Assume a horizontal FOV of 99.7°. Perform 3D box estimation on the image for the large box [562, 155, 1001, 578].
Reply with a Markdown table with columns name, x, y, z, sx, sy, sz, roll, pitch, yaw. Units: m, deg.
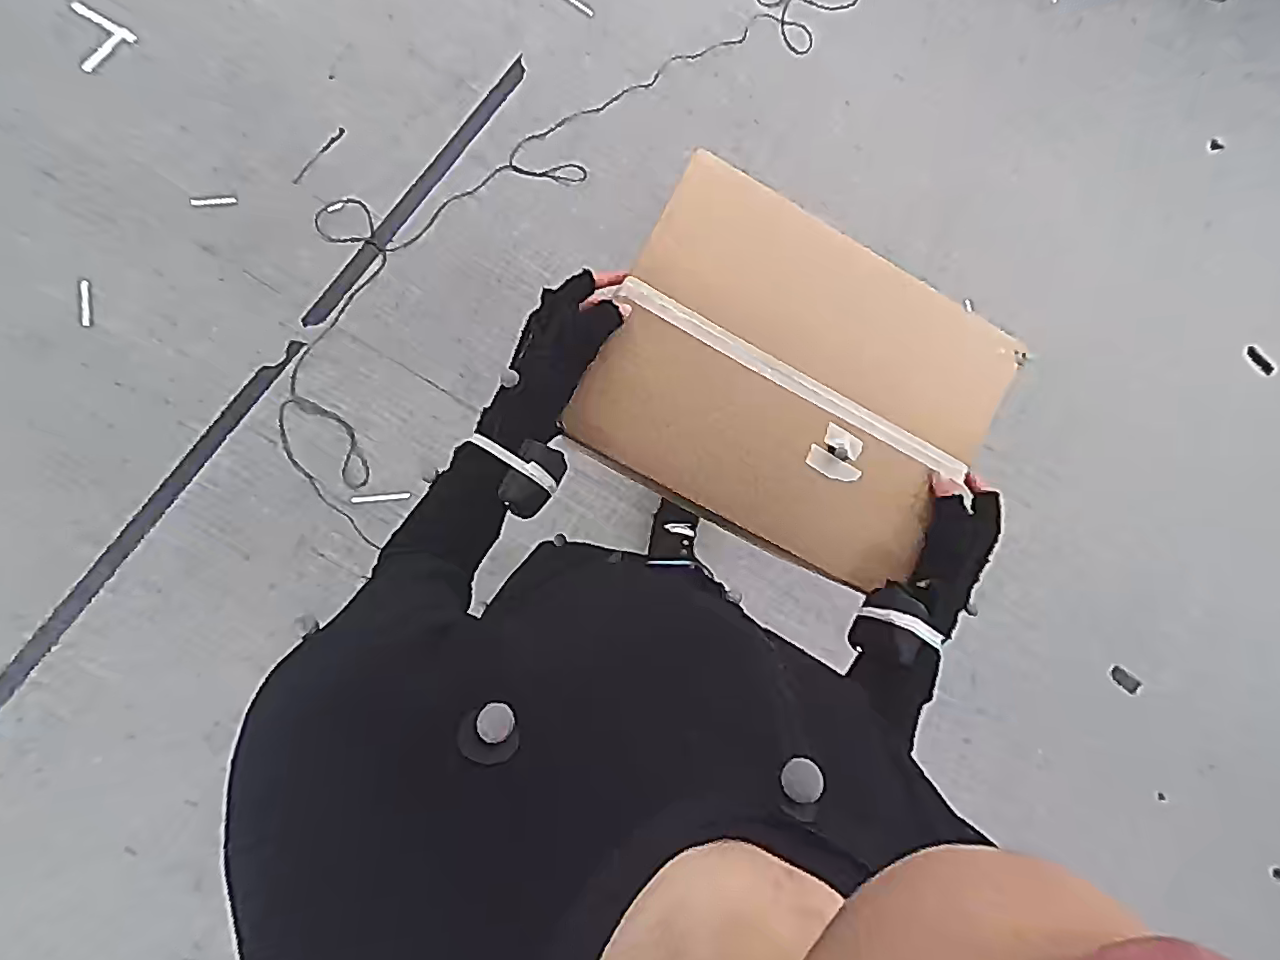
| name | x | y | z | sx | sy | sz | roll | pitch | yaw |
| --- | --- | --- | --- | --- | --- | --- | --- | --- | --- |
| large box | 0.140 | -0.118 | 0.717 | 0.408 | 0.320 | 0.320 | 28 | 90 | -7 |
